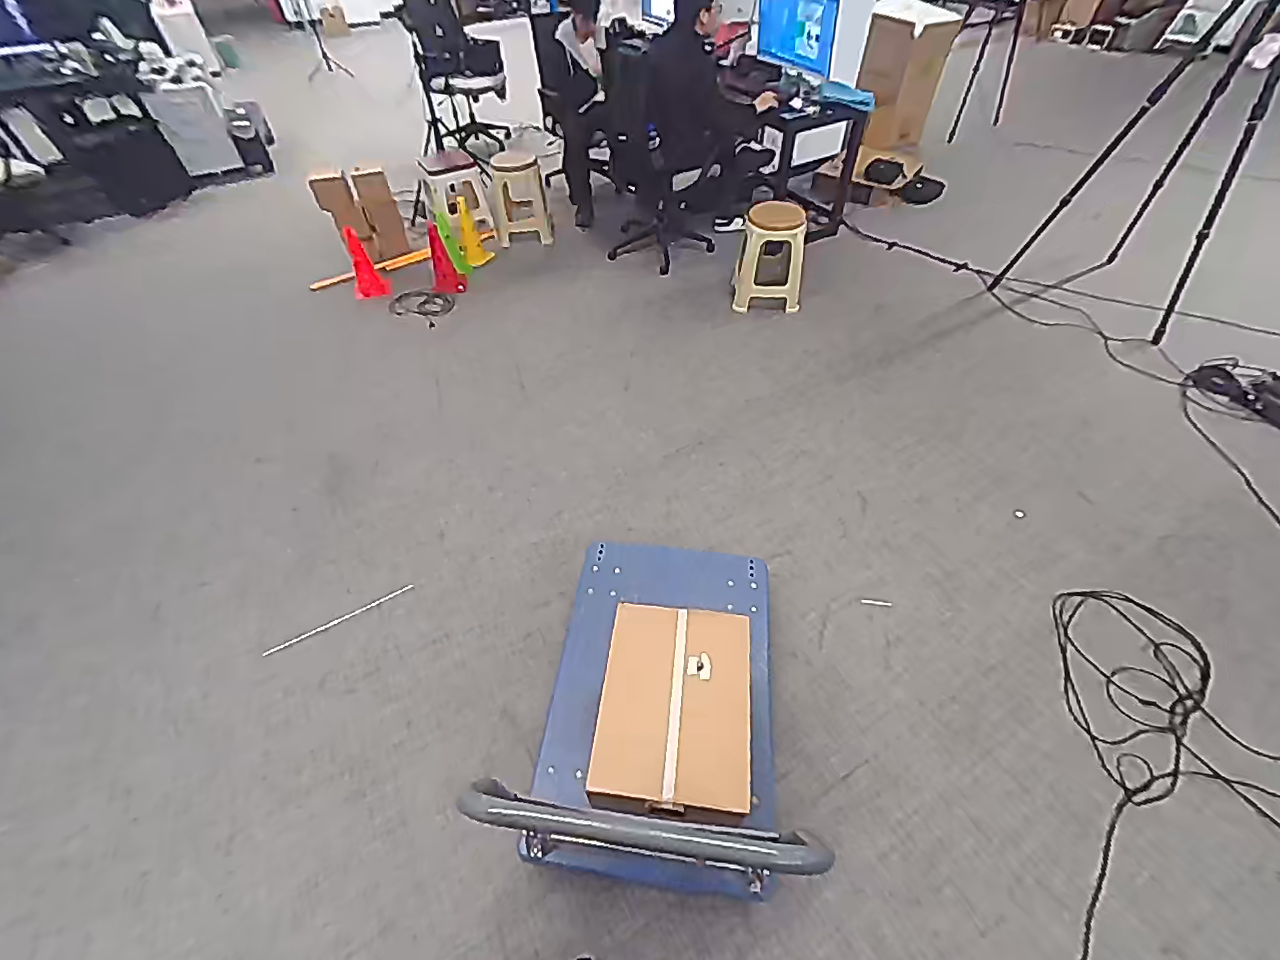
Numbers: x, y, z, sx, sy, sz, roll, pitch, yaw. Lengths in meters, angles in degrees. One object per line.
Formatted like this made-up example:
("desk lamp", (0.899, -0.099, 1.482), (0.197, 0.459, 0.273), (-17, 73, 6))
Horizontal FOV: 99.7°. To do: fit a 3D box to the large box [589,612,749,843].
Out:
("large box", (0.076, 0.575, 1.267), (0.320, 0.320, 0.408), (6, 48, 5))
